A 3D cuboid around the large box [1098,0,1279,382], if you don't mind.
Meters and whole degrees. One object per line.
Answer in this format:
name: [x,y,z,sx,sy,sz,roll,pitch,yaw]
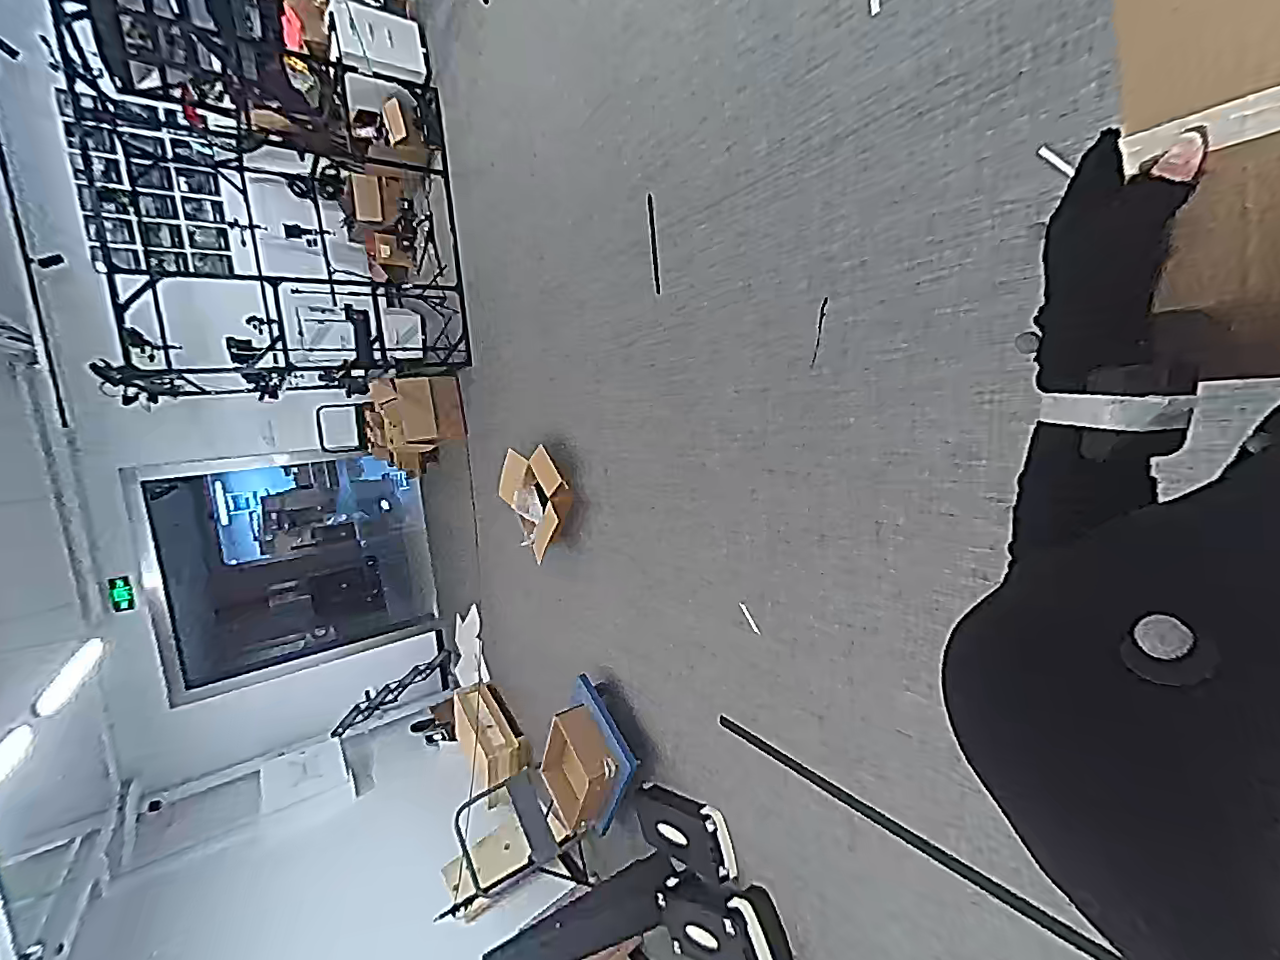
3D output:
large box: [0.512,-0.273,0.239,0.408,0.320,0.320,5,131,54]
